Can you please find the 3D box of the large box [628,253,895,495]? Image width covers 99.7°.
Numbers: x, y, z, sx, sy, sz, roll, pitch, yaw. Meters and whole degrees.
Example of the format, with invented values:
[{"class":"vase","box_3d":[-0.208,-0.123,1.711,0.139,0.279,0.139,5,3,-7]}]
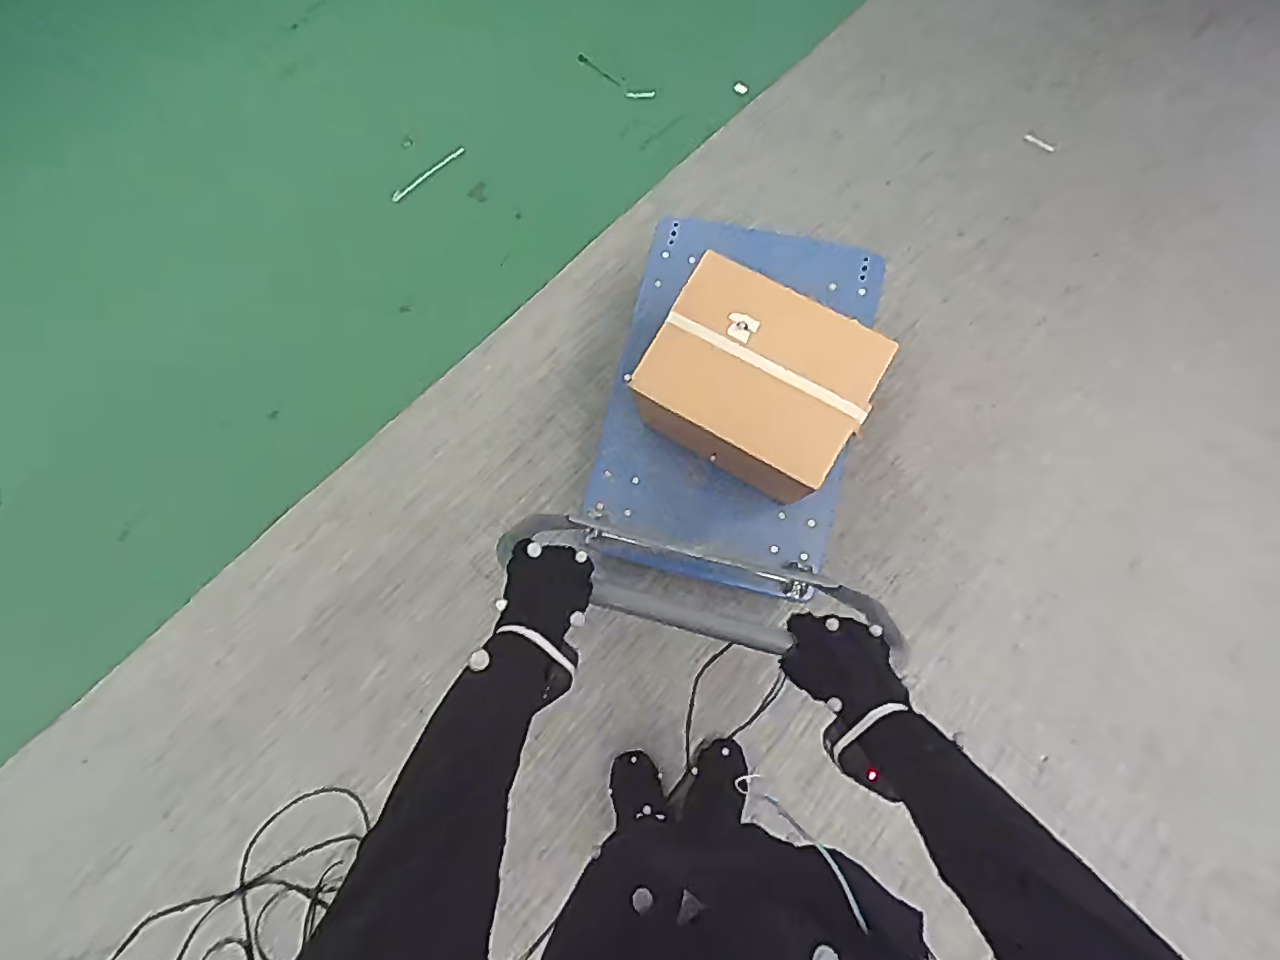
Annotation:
[{"class":"large box","box_3d":[0.240,-0.198,1.146,0.408,0.320,0.320,29,87,9]}]
